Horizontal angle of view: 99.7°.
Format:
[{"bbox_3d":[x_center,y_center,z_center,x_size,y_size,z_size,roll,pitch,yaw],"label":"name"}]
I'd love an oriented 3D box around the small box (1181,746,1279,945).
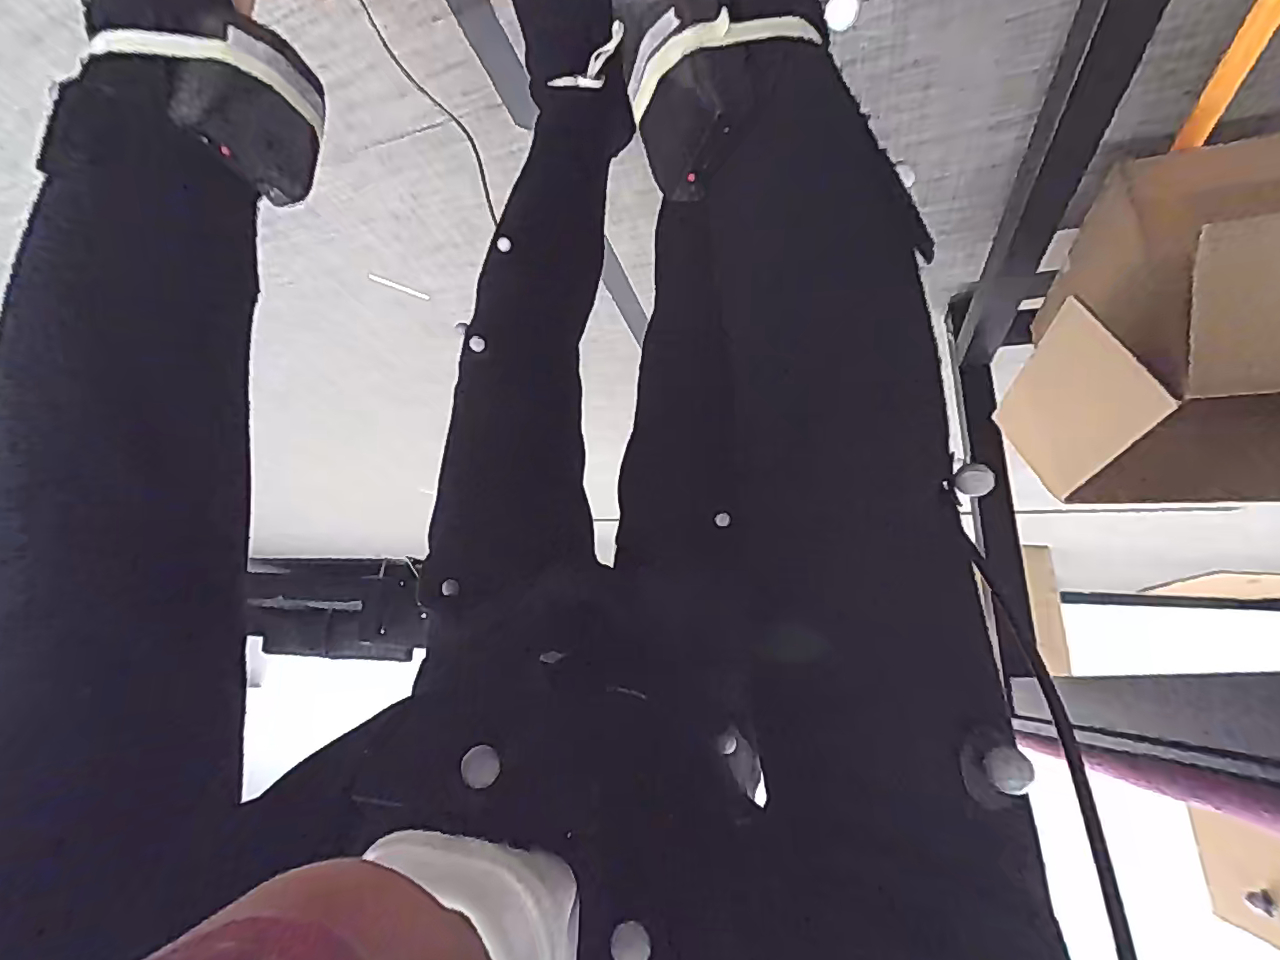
[{"bbox_3d":[0.688,0.361,0.526,0.168,0.176,0.179,-2,159,14],"label":"small box"}]
